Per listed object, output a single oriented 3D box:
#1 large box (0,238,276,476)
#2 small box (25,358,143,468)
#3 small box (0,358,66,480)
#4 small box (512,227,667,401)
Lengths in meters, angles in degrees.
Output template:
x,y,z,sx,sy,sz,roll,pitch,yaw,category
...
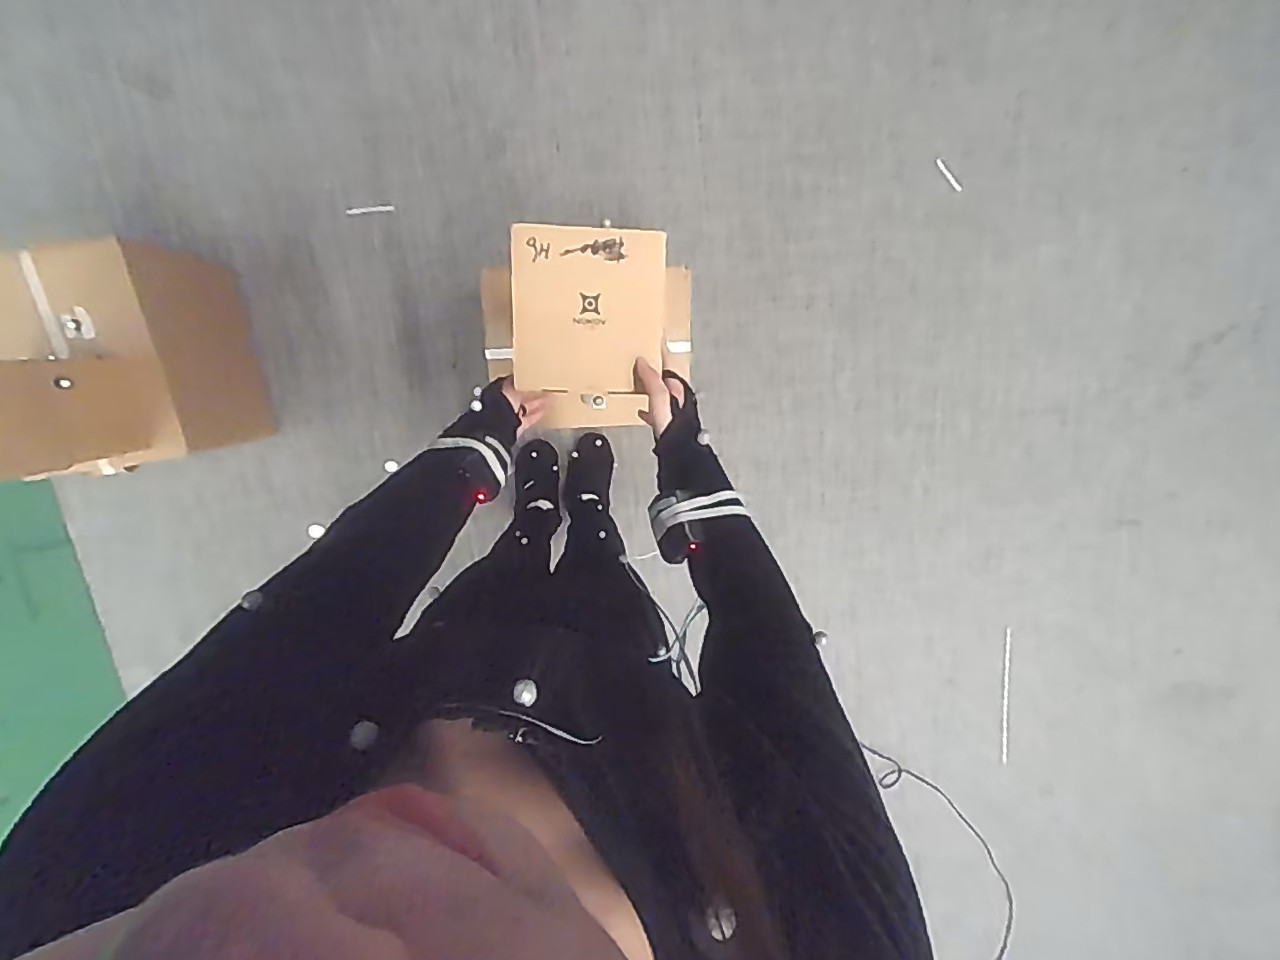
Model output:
x,y,z,sx,sy,sz,roll,pitch,yaw,category
-1.063,-0.249,1.146,0.320,0.320,0.408,-9,102,-4,large box
-1.018,-0.115,0.929,0.168,0.176,0.179,-7,102,-4,small box
-0.994,-0.079,0.769,0.168,0.176,0.179,-7,102,-4,small box
-0.062,-0.195,0.668,0.168,0.176,0.179,2,102,-6,small box
